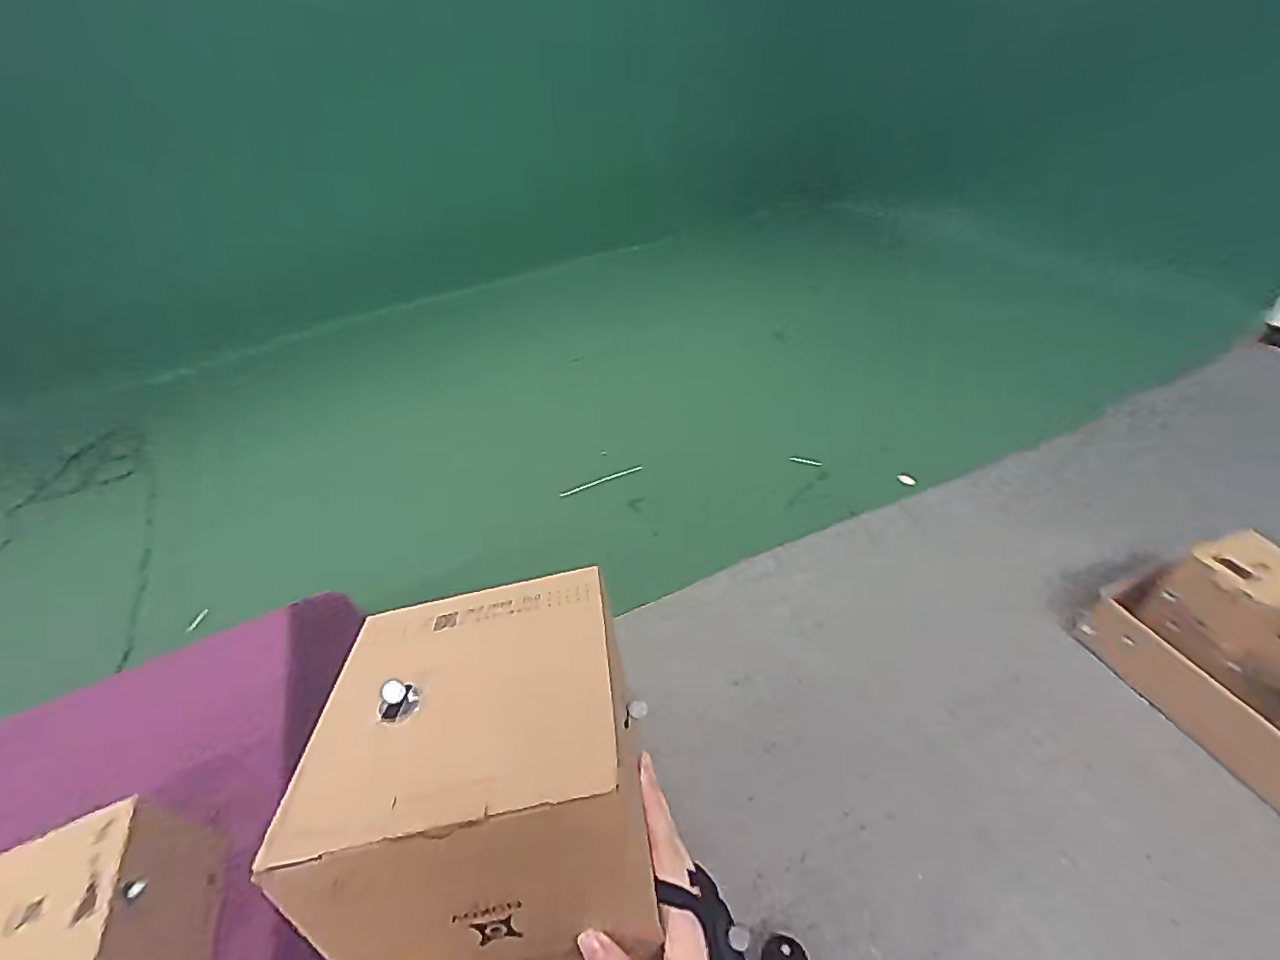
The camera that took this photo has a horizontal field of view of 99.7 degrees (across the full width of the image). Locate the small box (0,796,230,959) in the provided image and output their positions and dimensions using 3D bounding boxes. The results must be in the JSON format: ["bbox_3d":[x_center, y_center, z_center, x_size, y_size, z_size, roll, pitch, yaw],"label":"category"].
[{"bbox_3d":[-0.621,0.507,0.615,0.179,0.176,0.168,-24,45,-12],"label":"small box"}]

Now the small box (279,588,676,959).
[{"bbox_3d":[-0.078,0.188,0.350,0.168,0.179,0.176,-10,29,-1],"label":"small box"}]

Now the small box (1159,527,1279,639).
[{"bbox_3d":[1.372,0.242,1.254,0.179,0.176,0.168,-15,43,-7],"label":"small box"}]
